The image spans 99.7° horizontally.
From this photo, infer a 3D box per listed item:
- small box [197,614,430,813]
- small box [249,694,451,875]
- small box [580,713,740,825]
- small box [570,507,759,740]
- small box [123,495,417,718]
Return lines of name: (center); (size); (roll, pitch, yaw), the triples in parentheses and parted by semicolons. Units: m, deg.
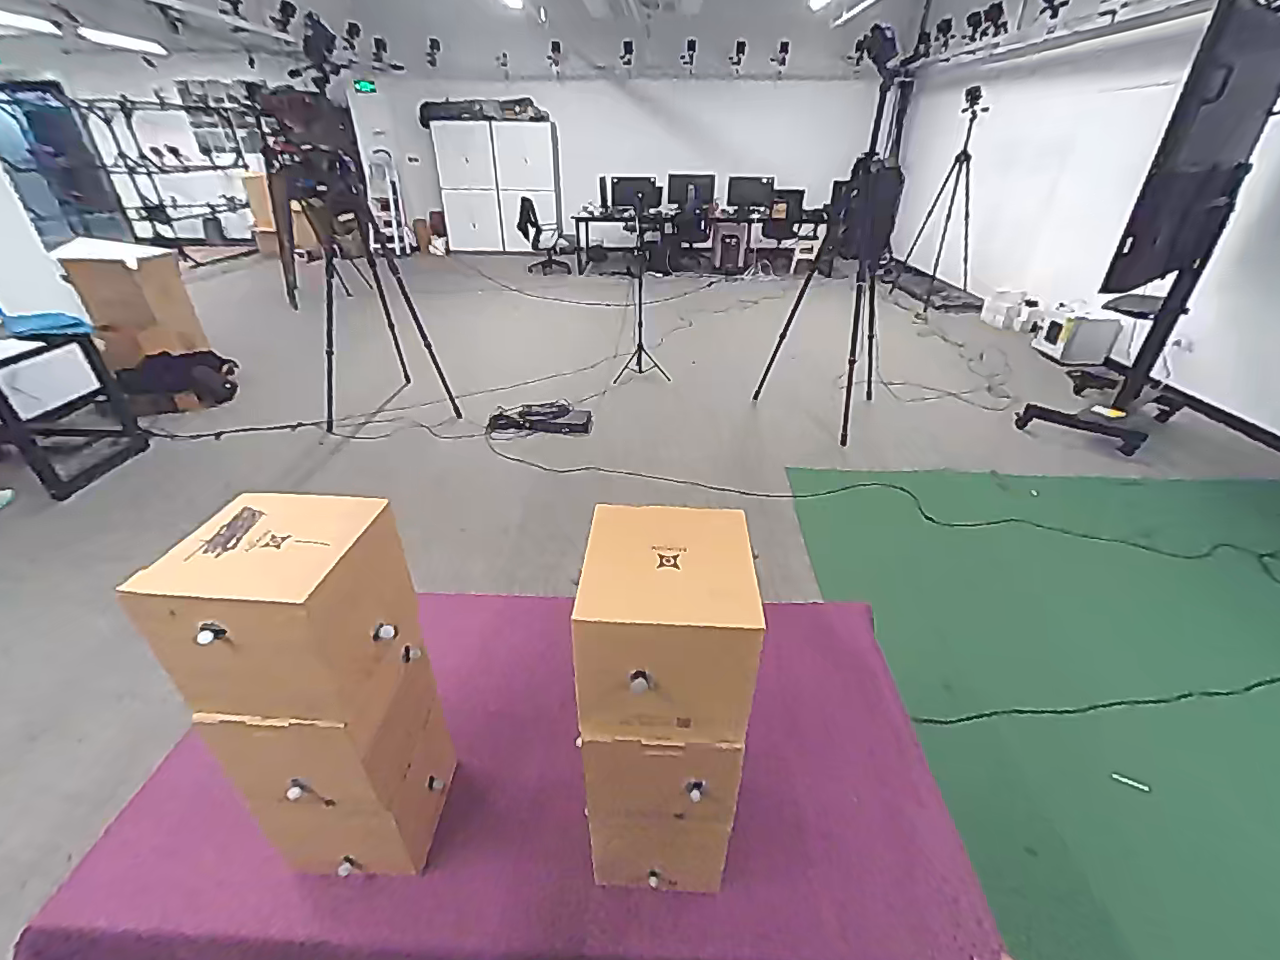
small box: (-0.376, 0.273, 0.667); (0.168, 0.176, 0.179); (1, 32, 2)
small box: (-0.379, 0.416, 0.749); (0.179, 0.176, 0.168); (2, 31, 0)
small box: (0.025, 0.286, 0.654); (0.168, 0.176, 0.179); (2, 32, 2)
small box: (0.025, 0.147, 0.570); (0.168, 0.176, 0.179); (2, 31, 2)
small box: (-0.369, 0.132, 0.581); (0.179, 0.176, 0.168); (3, 32, 3)
